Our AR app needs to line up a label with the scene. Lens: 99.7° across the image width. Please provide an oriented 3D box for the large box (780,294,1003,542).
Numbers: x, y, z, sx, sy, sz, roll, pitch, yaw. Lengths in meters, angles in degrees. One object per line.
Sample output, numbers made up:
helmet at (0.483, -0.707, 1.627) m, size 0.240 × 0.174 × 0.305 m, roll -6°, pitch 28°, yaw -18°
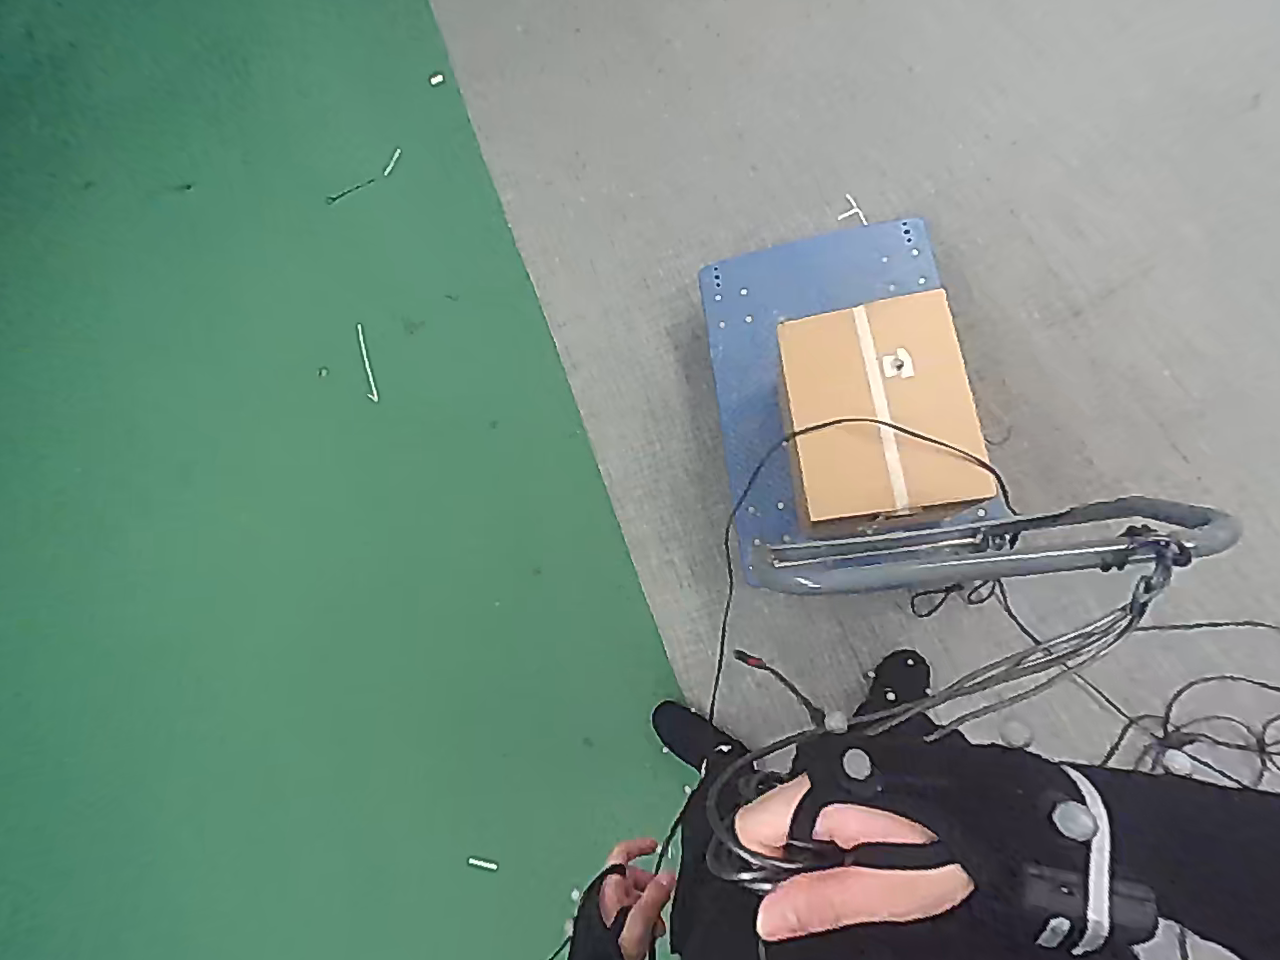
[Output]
large box at (0.484, -0.102, 1.130) m, size 0.320 × 0.320 × 0.408 m, roll -9°, pitch 76°, yaw 12°
